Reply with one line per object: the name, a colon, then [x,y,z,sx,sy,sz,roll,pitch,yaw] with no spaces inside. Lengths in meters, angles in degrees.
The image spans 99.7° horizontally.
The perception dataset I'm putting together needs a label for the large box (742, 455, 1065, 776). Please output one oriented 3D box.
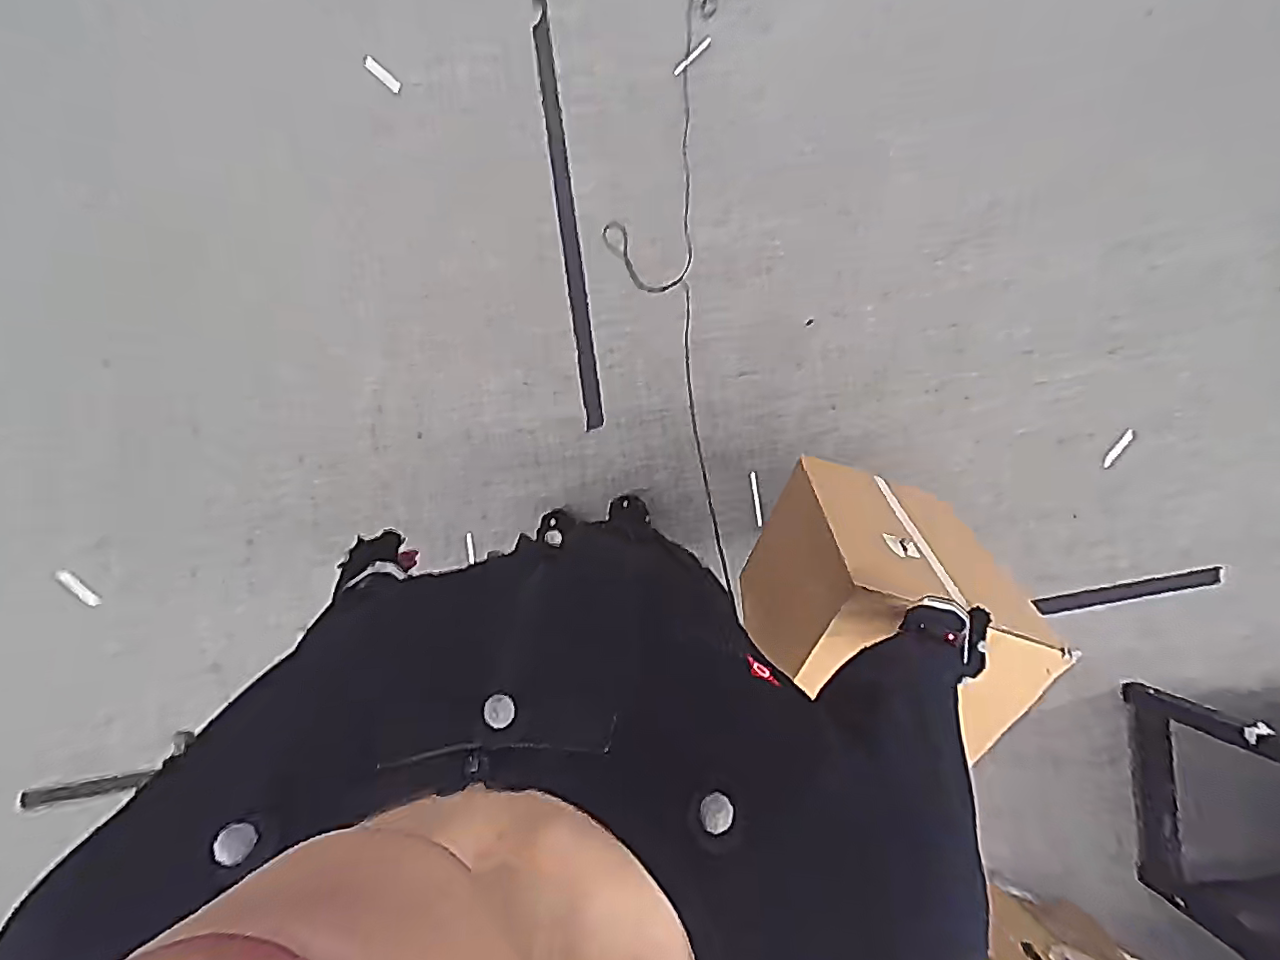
large box: [0.393,0.215,0.951,0.320,0.408,0.320,17,119,-4]
